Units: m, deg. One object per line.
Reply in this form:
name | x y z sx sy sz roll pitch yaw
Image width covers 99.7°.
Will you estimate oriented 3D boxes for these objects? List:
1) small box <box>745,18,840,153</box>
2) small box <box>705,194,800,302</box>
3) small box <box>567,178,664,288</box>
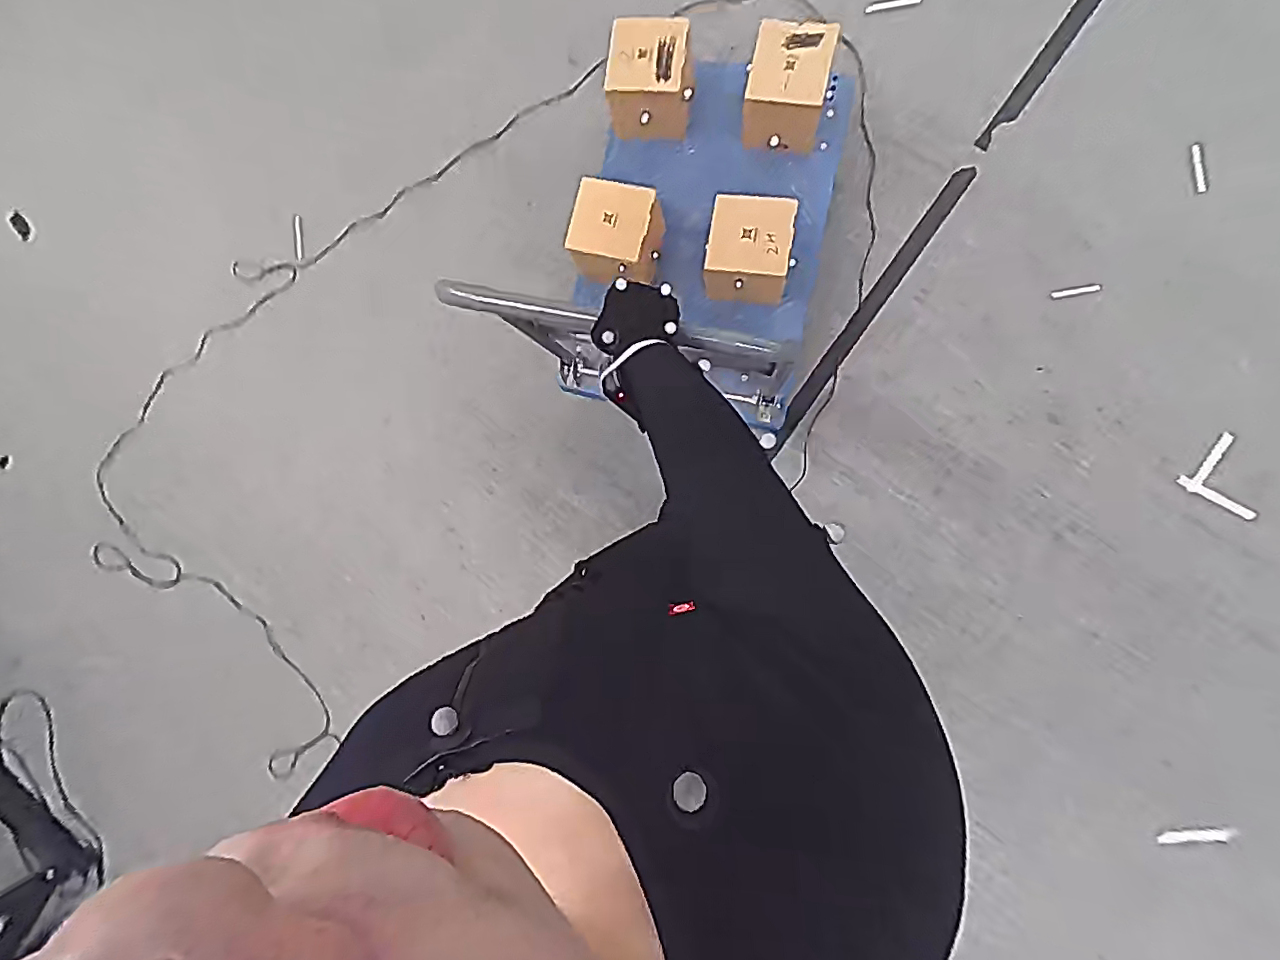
small box | 0.334 -0.881 1.218 0.168 0.176 0.179 12 91 10
small box | 0.249 -0.515 1.216 0.179 0.176 0.168 9 89 10
small box | -0.051 -0.571 1.269 0.179 0.176 0.168 14 90 8
